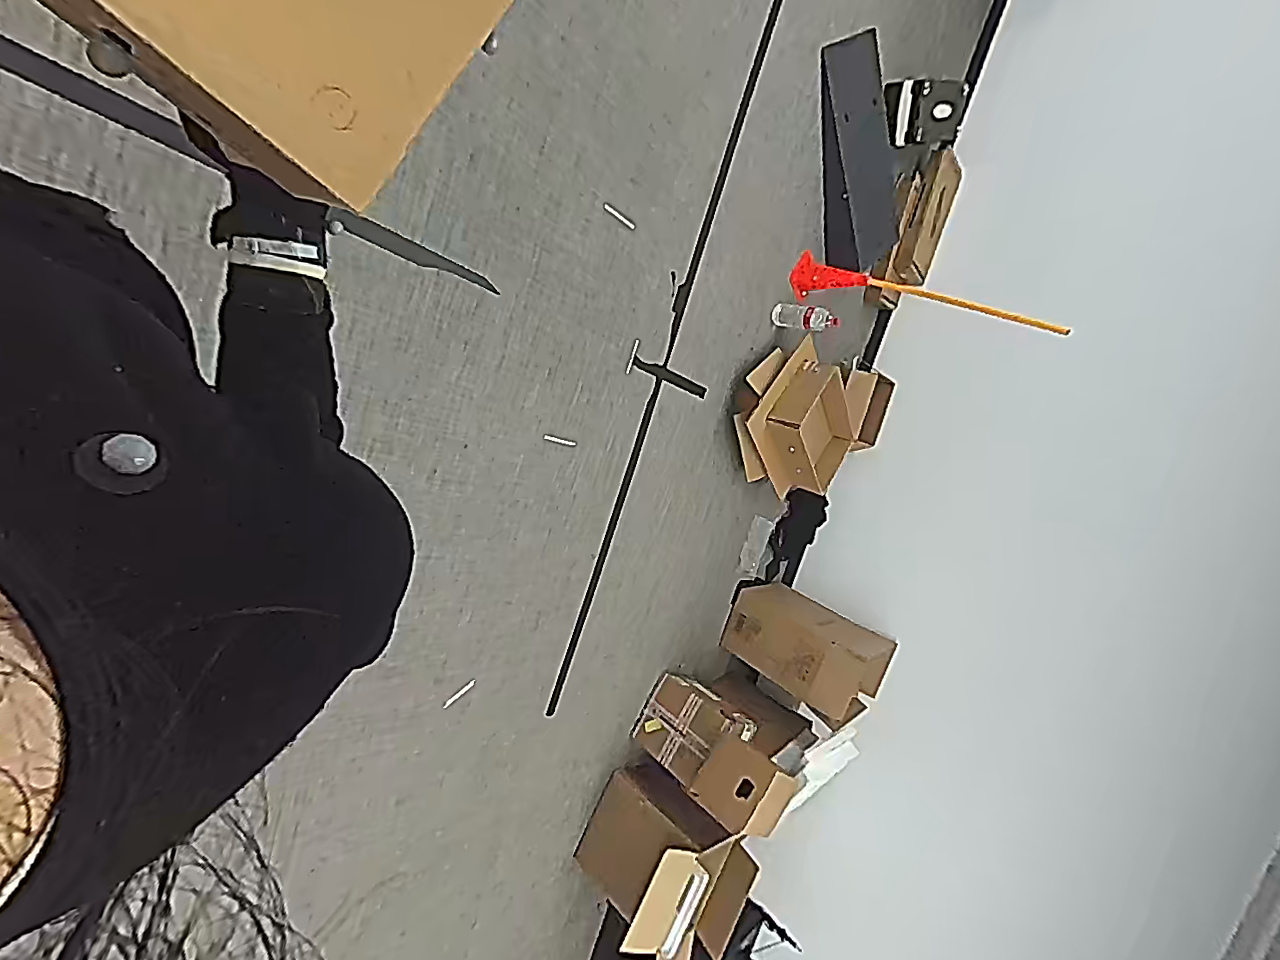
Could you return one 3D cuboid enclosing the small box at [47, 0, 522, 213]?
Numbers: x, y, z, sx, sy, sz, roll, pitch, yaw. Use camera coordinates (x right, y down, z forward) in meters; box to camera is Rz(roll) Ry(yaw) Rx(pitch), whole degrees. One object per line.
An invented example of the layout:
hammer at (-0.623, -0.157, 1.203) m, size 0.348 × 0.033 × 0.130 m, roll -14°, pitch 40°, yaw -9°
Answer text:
small box at (-0.196, -0.276, 0.291) m, size 0.179 × 0.176 × 0.168 m, roll -57°, pitch 139°, yaw -3°
